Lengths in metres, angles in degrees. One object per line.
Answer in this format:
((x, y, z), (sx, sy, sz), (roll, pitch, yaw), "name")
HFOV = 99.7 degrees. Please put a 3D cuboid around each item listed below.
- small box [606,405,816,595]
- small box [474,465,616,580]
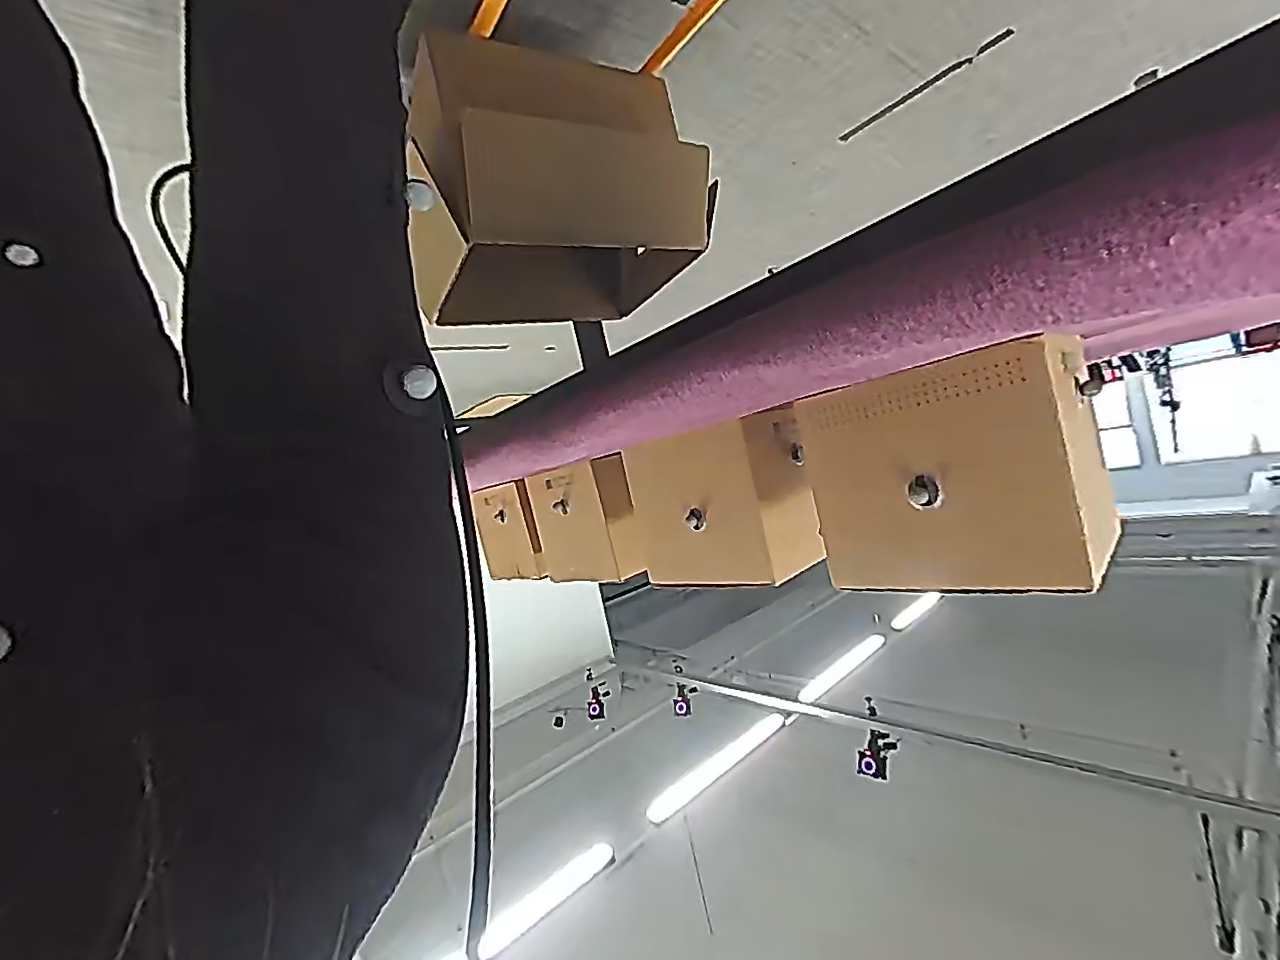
((0.080, 0.035, 0.670), (0.168, 0.176, 0.179), (28, 163, -15), "small box")
((-0.170, 0.074, 0.973), (0.179, 0.176, 0.168), (-15, -178, -44), "small box")
